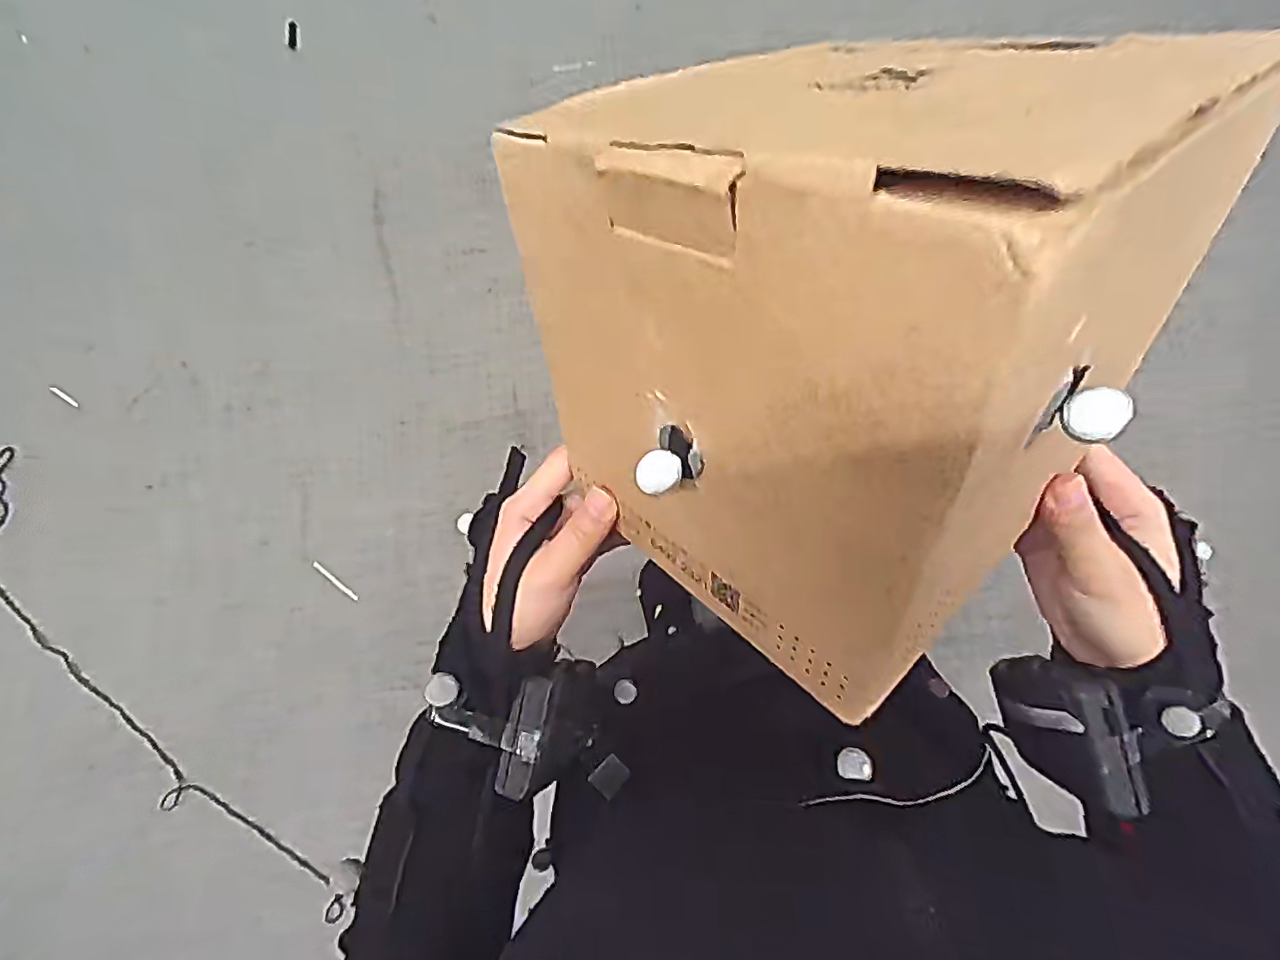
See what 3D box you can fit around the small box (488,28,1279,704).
[{"bbox_3d":[0.075,-0.052,0.214,0.179,0.176,0.168,-34,48,-25],"label":"small box"}]
